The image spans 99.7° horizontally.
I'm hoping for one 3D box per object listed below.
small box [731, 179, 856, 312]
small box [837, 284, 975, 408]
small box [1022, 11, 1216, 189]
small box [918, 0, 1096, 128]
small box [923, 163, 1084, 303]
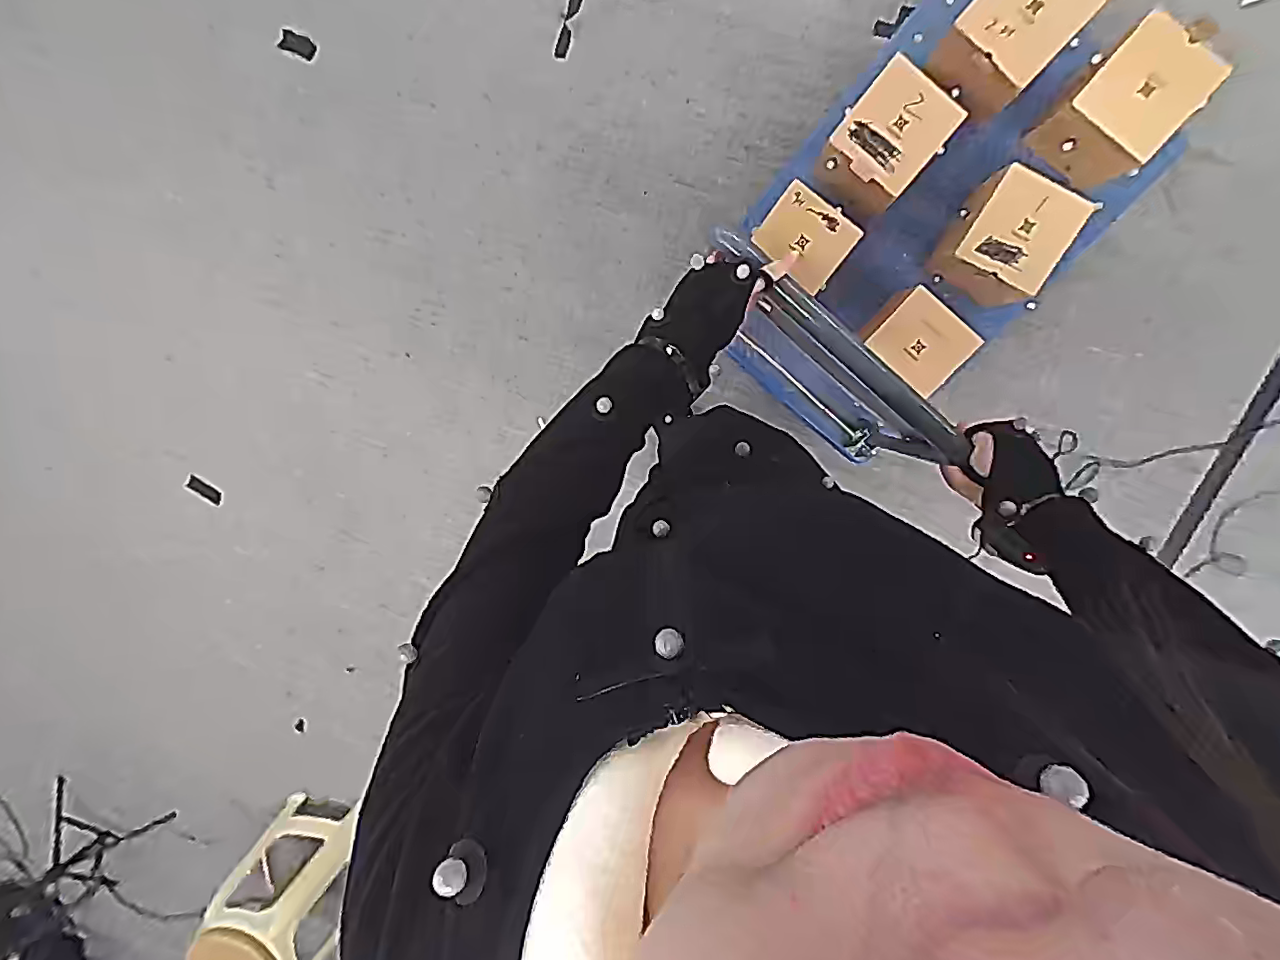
[{"bbox_3d":[0.302,-0.463,1.103,0.168,0.176,0.179,38,104,-2],"label":"small box"},{"bbox_3d":[0.530,-0.270,1.115,0.168,0.176,0.179,41,103,-3],"label":"small box"},{"bbox_3d":[0.849,-0.674,0.988,0.168,0.176,0.179,38,104,-1],"label":"small box"},{"bbox_3d":[0.650,-0.800,0.986,0.168,0.176,0.179,43,105,-2],"label":"small box"},{"bbox_3d":[0.686,-0.466,1.053,0.168,0.176,0.179,30,103,1],"label":"small box"}]
